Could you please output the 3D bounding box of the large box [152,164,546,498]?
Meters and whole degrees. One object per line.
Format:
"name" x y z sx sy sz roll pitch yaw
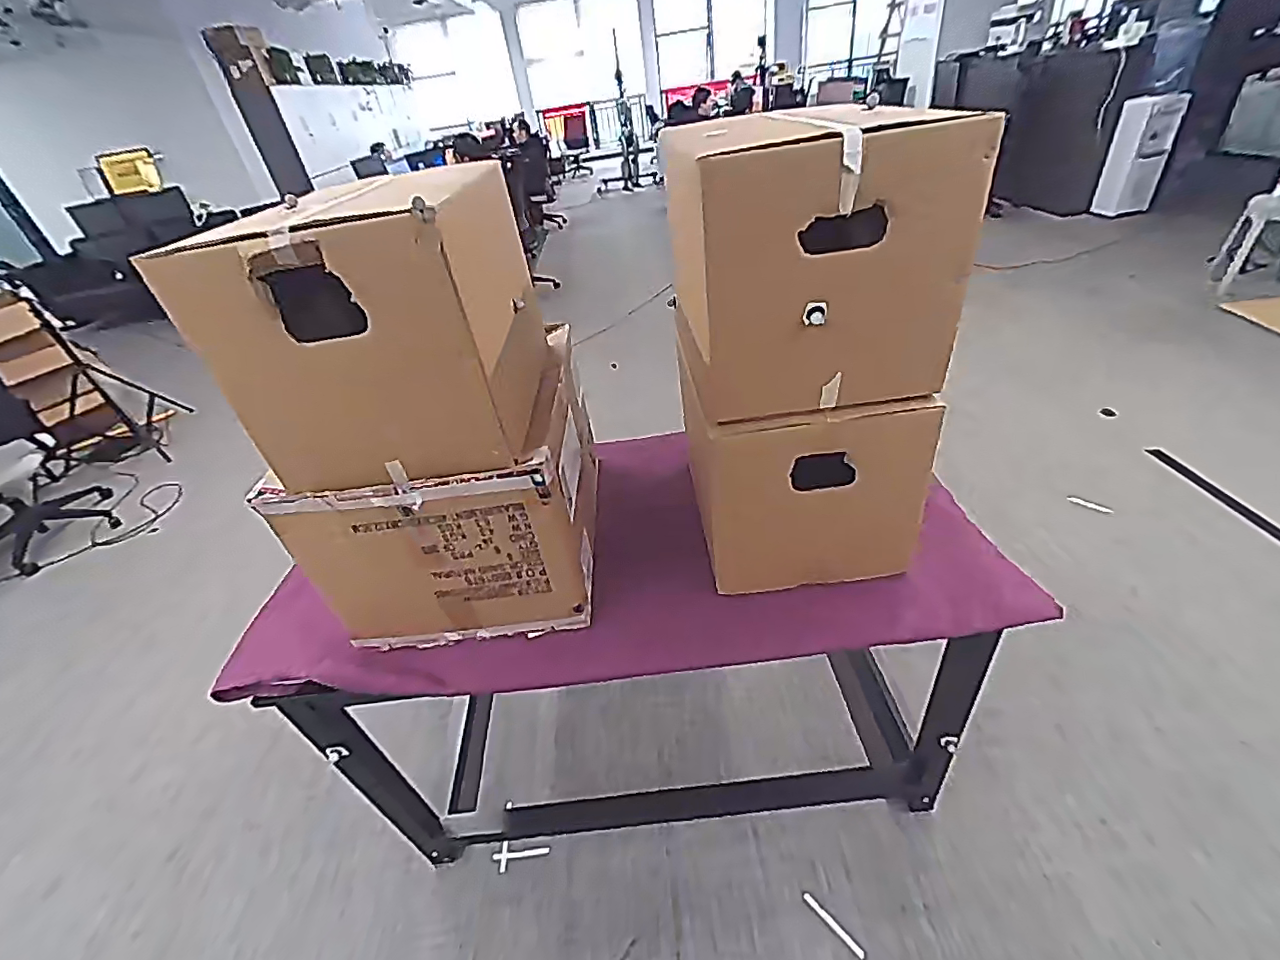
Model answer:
"large box" -0.328 -0.231 0.774 0.320 0.320 0.408 -10 37 3
